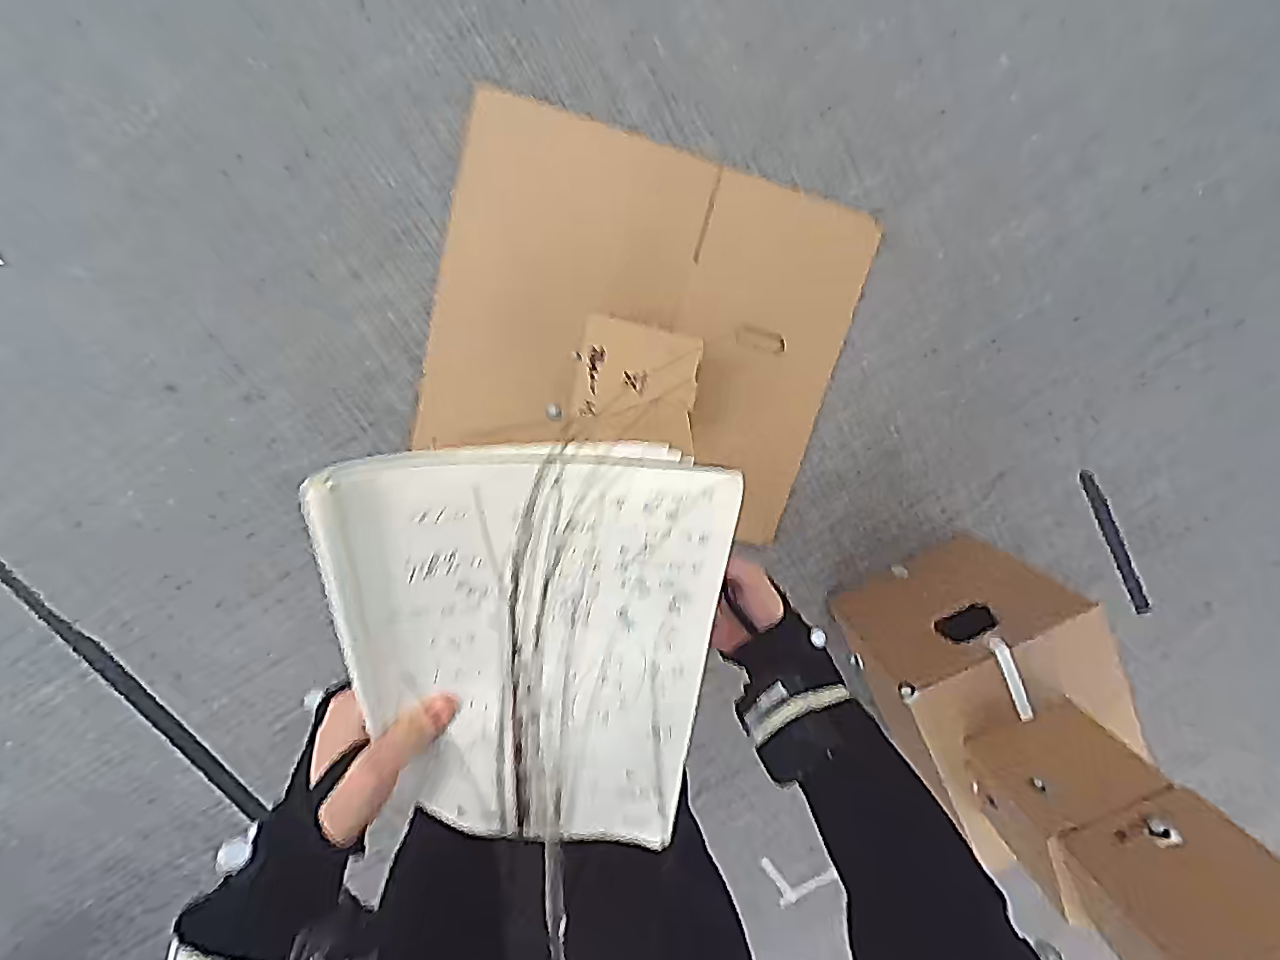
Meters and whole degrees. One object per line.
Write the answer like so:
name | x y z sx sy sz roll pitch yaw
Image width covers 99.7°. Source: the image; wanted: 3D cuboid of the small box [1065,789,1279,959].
small box | 0.631 0.495 0.599 0.168 0.176 0.179 -29 102 3

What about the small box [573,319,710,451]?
small box | -0.006 -0.159 0.876 0.179 0.176 0.168 12 104 -8
